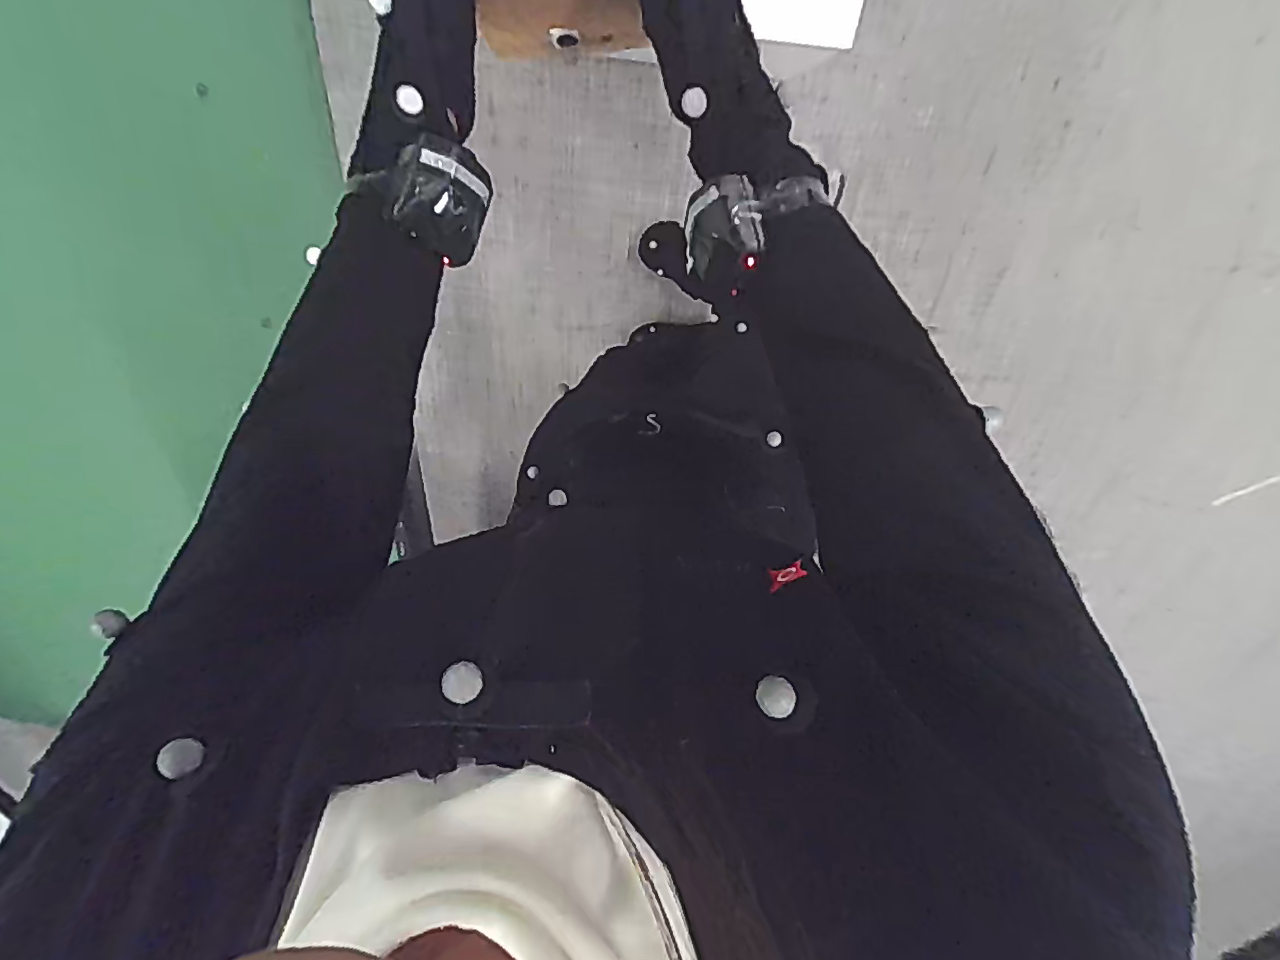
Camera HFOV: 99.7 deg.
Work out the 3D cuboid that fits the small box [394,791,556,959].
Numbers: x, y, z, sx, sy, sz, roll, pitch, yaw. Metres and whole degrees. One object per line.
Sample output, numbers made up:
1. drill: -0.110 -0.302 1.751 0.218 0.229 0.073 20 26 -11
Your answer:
1. small box: -0.228 0.598 0.803 0.168 0.176 0.179 8 127 6
